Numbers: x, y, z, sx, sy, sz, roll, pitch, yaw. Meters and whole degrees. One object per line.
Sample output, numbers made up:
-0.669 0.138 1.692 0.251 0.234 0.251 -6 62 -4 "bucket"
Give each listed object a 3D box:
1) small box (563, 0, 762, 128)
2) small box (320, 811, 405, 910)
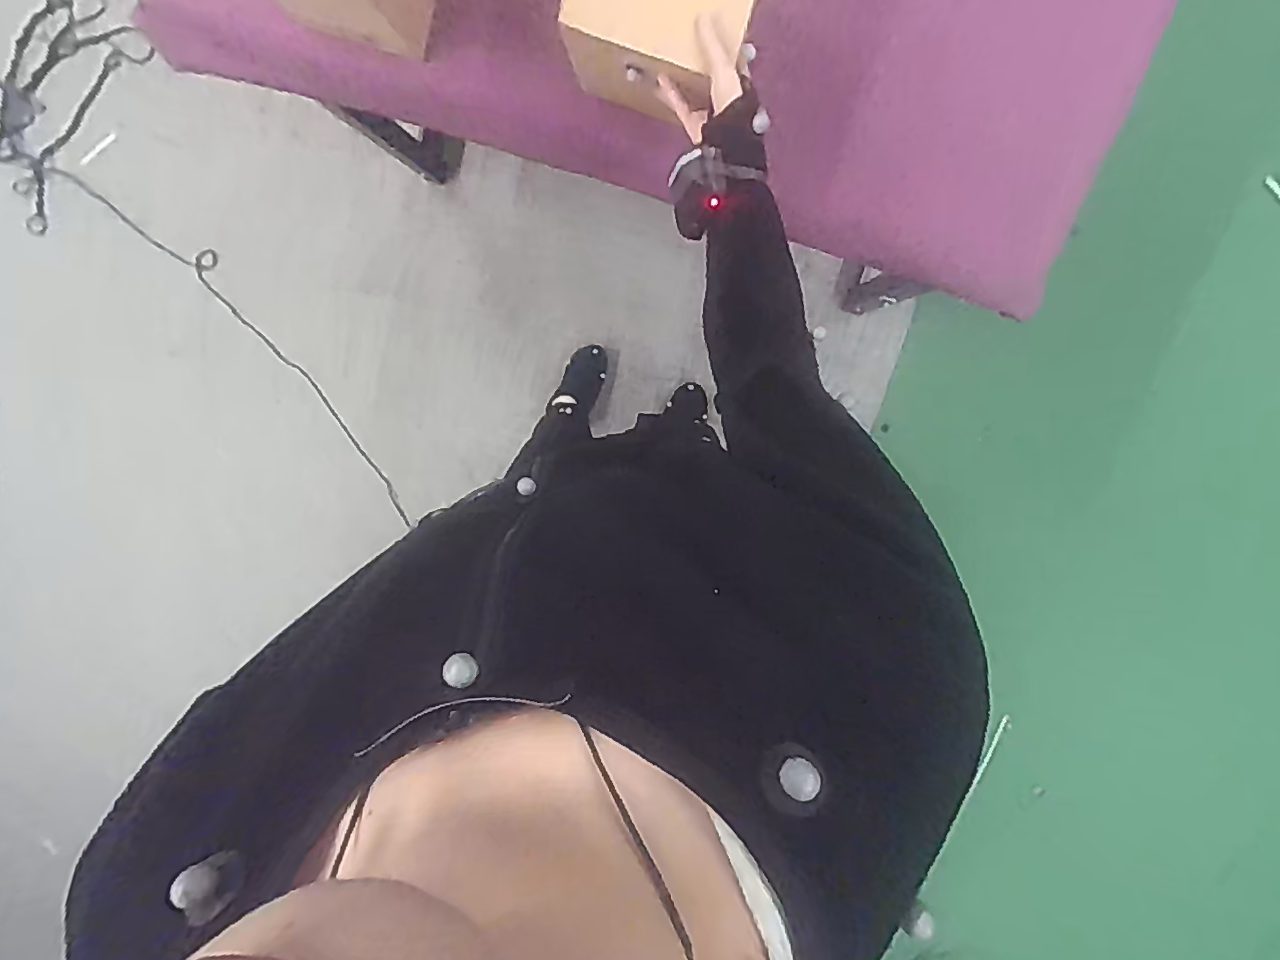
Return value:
0.036 -0.504 0.569 0.179 0.176 0.168 17 108 -4 "small box"
-0.884 1.215 1.740 0.168 0.176 0.179 20 103 1 "small box"
